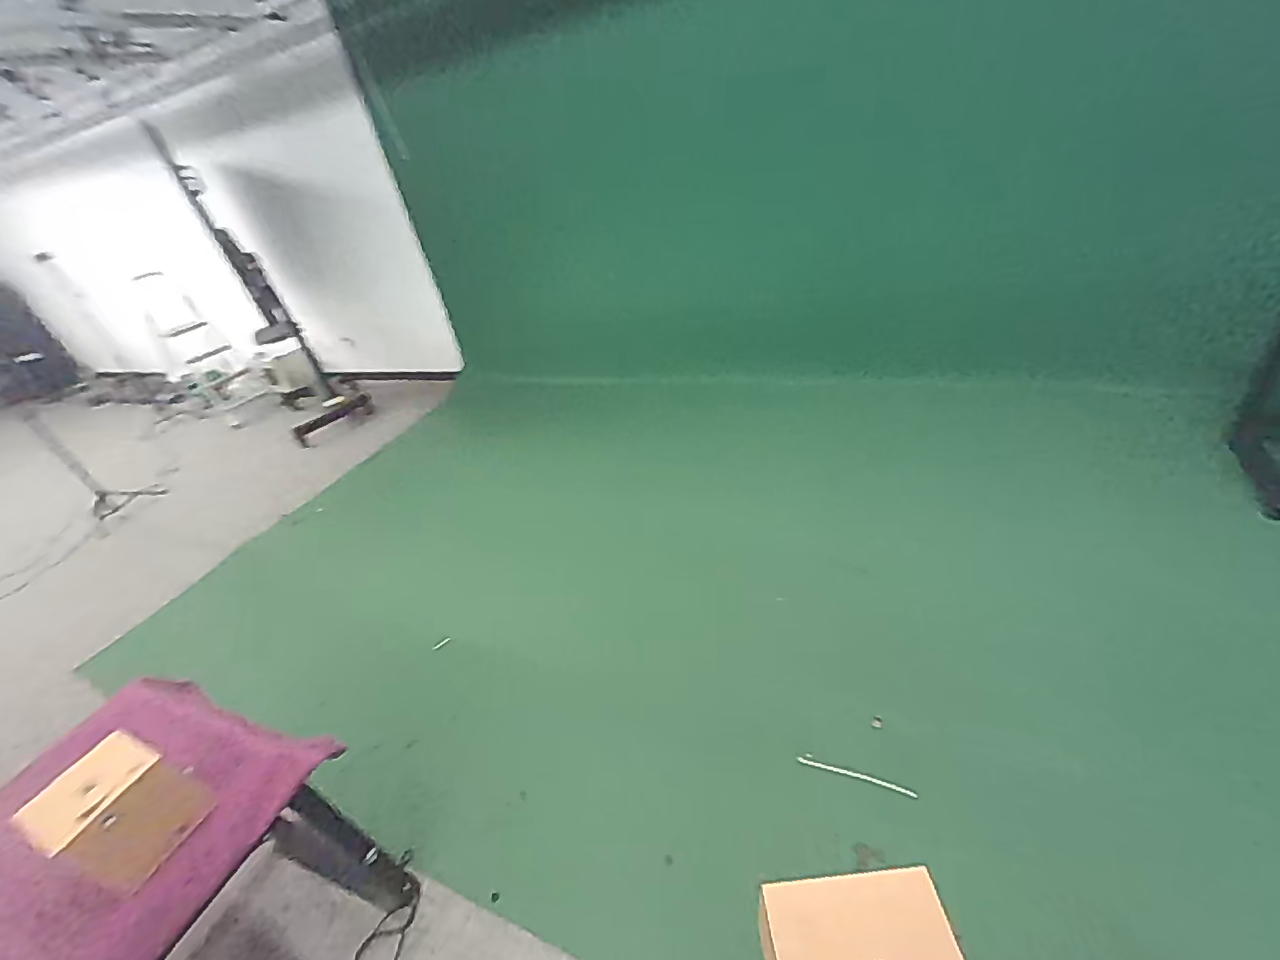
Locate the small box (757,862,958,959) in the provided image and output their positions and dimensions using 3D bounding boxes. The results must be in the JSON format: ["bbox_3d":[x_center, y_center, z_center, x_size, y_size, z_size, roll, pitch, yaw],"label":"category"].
[{"bbox_3d":[0.211,0.504,0.519,0.168,0.176,0.179,-8,39,1],"label":"small box"}]

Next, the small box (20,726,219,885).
[{"bbox_3d":[-0.924,0.584,0.973,0.179,0.176,0.168,5,39,28],"label":"small box"}]
